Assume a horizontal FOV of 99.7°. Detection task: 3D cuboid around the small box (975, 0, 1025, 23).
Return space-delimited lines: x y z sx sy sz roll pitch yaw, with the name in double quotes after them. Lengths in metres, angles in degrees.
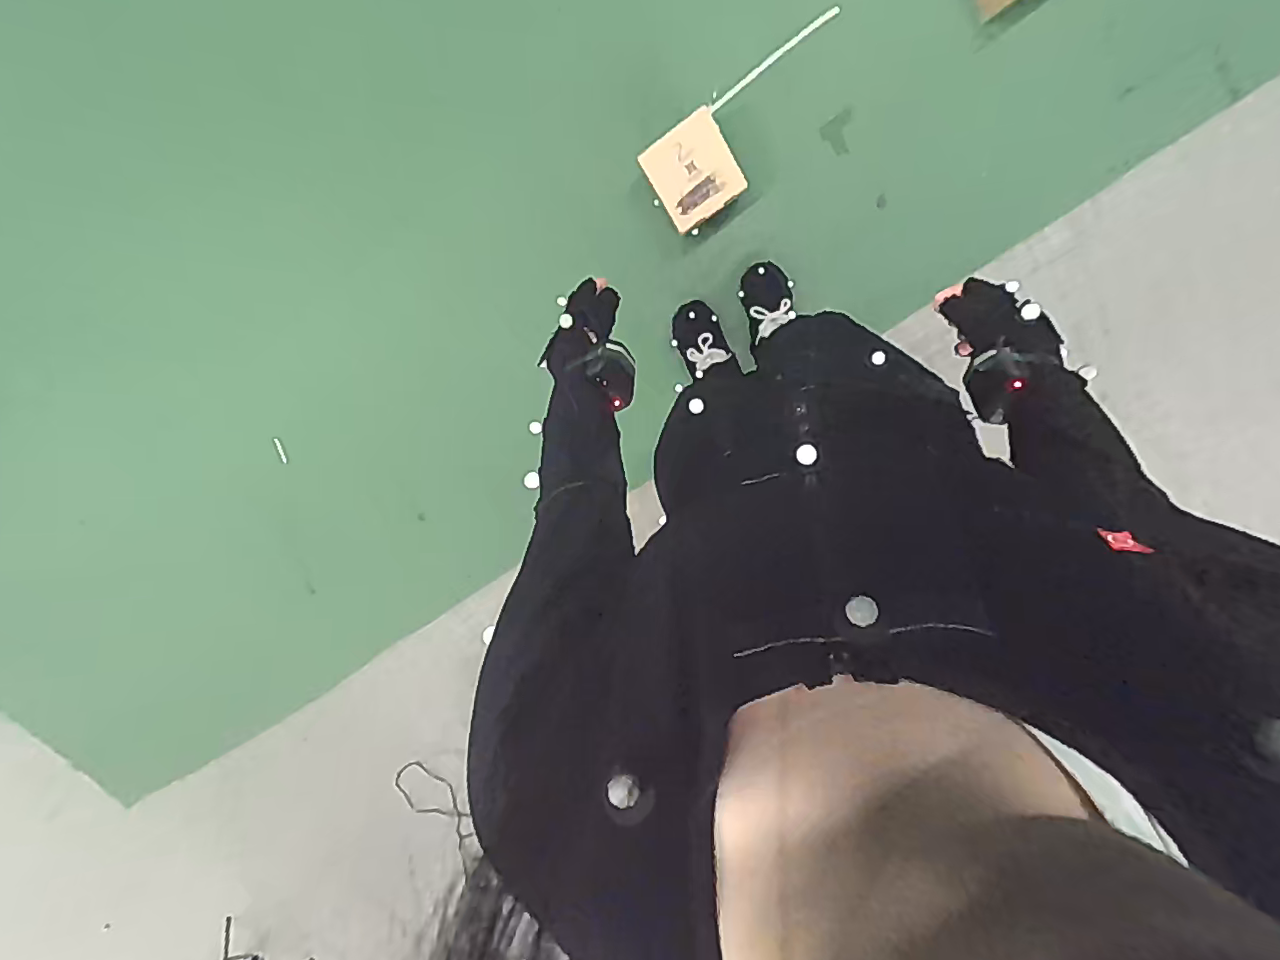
0.733 -1.007 0.992 0.179 0.176 0.168 -31 107 15 "small box"
